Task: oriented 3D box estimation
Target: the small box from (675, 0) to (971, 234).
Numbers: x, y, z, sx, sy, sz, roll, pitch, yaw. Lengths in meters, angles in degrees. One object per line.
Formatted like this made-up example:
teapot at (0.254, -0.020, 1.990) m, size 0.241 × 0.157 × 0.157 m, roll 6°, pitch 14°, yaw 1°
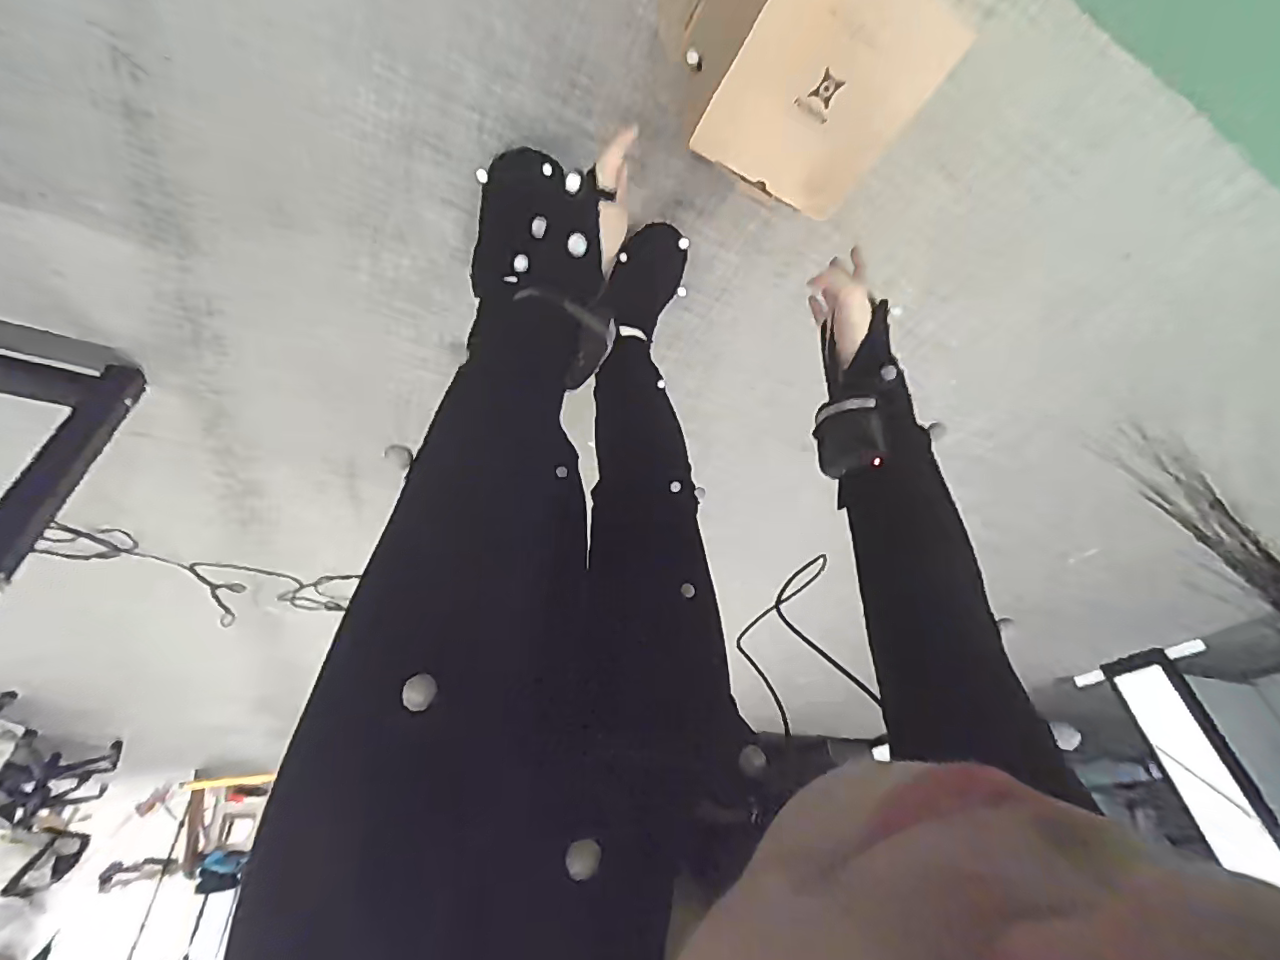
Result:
small box at (0.143, -0.373, 0.493) m, size 0.168 × 0.176 × 0.179 m, roll 15°, pitch 137°, yaw -25°
